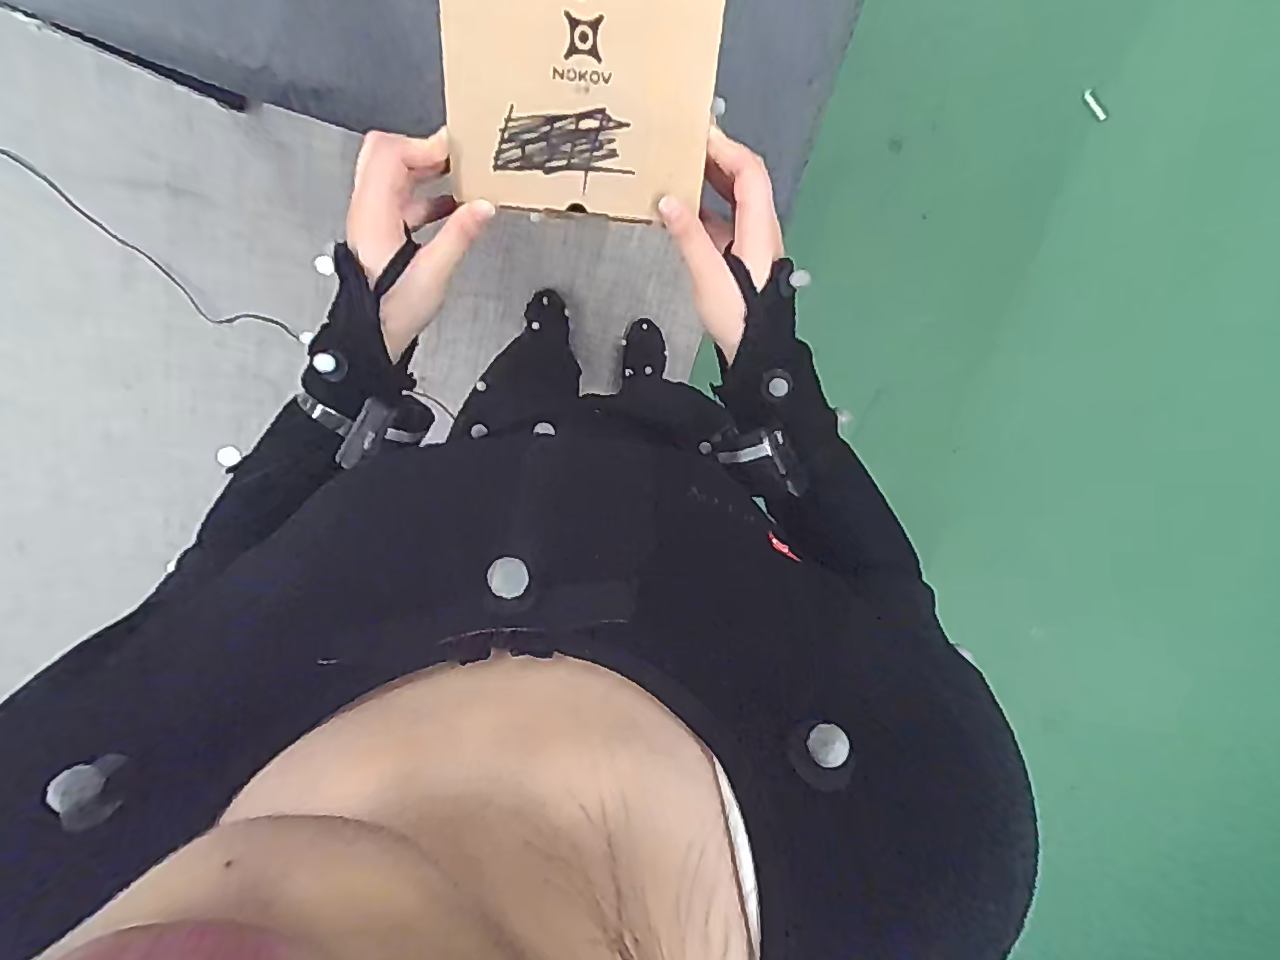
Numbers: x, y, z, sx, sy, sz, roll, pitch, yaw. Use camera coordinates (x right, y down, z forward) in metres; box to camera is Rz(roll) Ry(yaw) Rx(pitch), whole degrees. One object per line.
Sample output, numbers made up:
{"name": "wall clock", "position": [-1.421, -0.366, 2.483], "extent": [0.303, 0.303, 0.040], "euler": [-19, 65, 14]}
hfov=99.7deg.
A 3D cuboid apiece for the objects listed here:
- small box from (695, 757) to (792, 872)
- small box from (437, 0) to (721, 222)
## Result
{"name": "small box", "position": [0.253, 0.840, 1.370], "extent": [0.179, 0.176, 0.168], "euler": [19, 110, -7]}
{"name": "small box", "position": [-0.036, -0.294, 0.390], "extent": [0.168, 0.176, 0.179], "euler": [4, 118, -3]}
